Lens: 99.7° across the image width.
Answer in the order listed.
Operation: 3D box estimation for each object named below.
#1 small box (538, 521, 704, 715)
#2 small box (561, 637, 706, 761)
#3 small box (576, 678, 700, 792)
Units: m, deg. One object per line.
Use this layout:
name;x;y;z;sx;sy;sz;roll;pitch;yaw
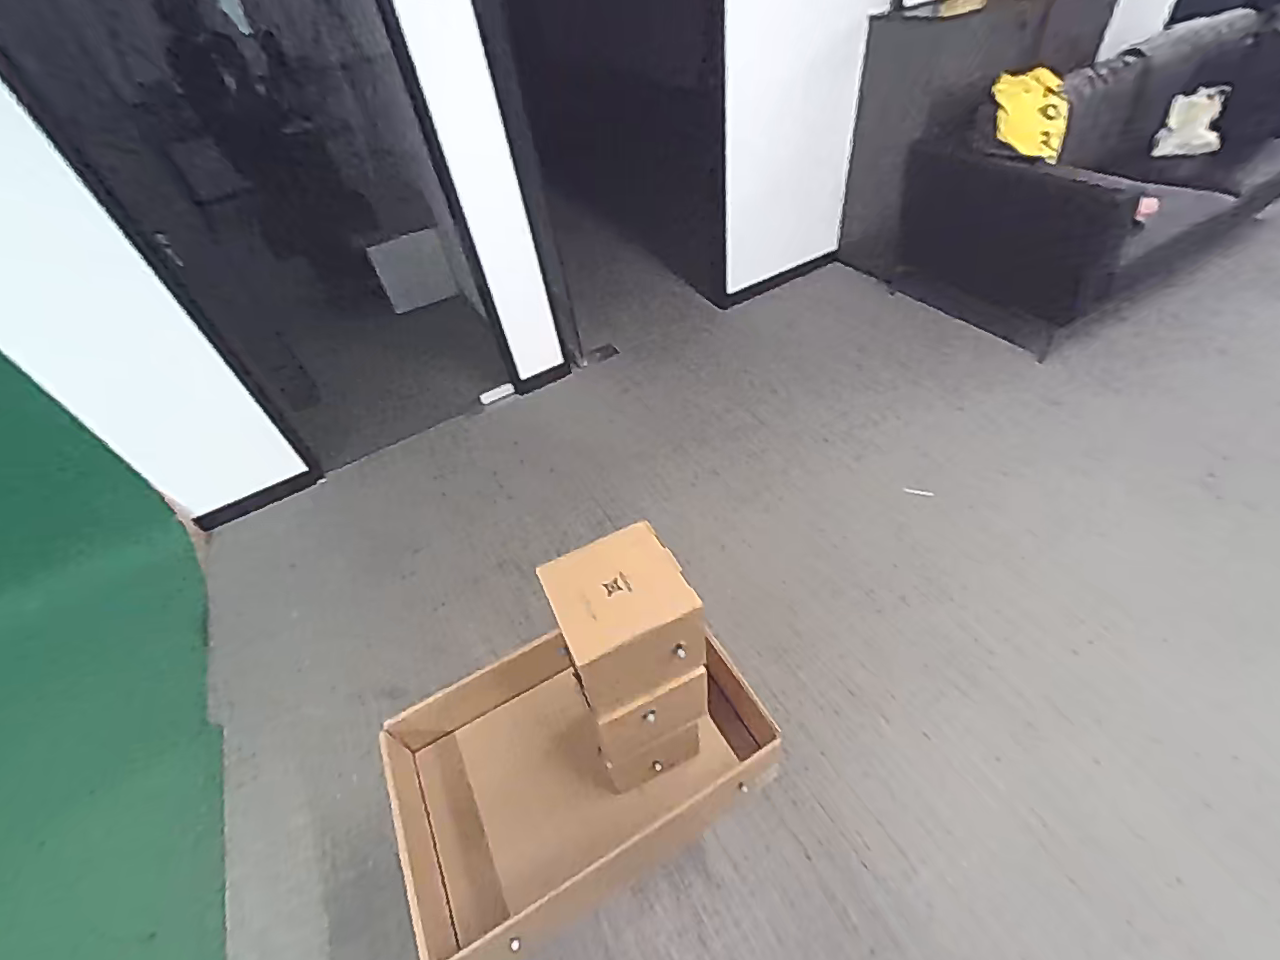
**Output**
small box;-0.023;0.195;0.764;0.179;0.176;0.168;-23;46;-13
small box;-0.005;0.317;0.871;0.179;0.176;0.168;-22;46;-13
small box;0.000;0.437;0.984;0.168;0.176;0.179;-21;45;-12
